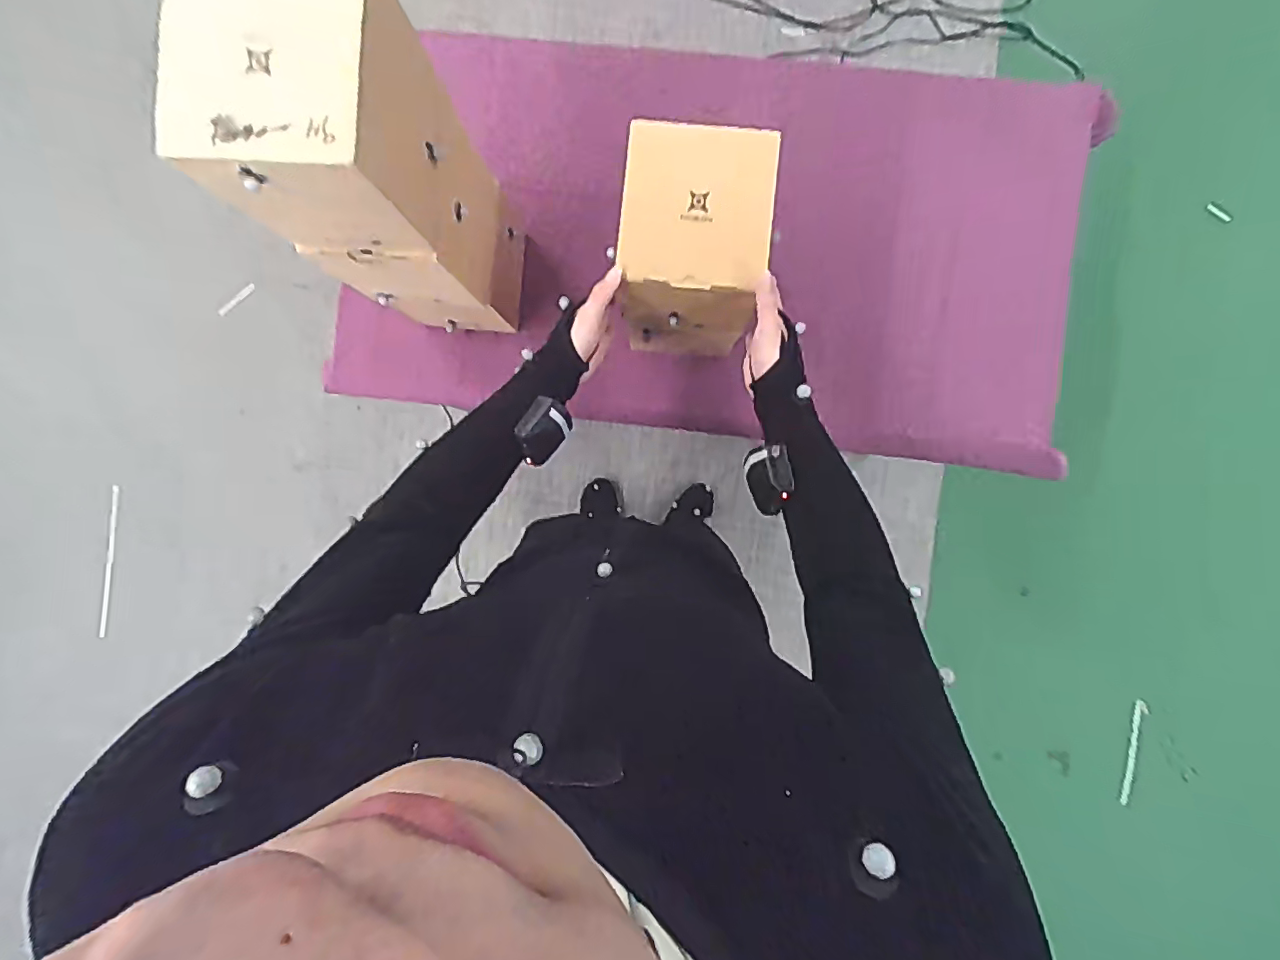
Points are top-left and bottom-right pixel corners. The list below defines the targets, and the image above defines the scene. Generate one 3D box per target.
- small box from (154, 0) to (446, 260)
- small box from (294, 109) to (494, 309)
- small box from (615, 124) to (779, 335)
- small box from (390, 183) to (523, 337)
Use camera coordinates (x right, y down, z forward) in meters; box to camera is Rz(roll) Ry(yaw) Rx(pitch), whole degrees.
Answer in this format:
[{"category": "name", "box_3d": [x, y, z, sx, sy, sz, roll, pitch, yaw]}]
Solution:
[{"category": "small box", "box_3d": [-0.298, -0.334, 0.512, 0.168, 0.176, 0.179, 4, 89, 3]}, {"category": "small box", "box_3d": [-0.292, -0.327, 0.676, 0.168, 0.176, 0.179, 5, 89, 3]}, {"category": "small box", "box_3d": [0.063, -0.292, 0.663, 0.168, 0.176, 0.179, 5, 90, 2]}, {"category": "small box", "box_3d": [-0.286, -0.336, 0.839, 0.168, 0.176, 0.179, 5, 91, 2]}]
